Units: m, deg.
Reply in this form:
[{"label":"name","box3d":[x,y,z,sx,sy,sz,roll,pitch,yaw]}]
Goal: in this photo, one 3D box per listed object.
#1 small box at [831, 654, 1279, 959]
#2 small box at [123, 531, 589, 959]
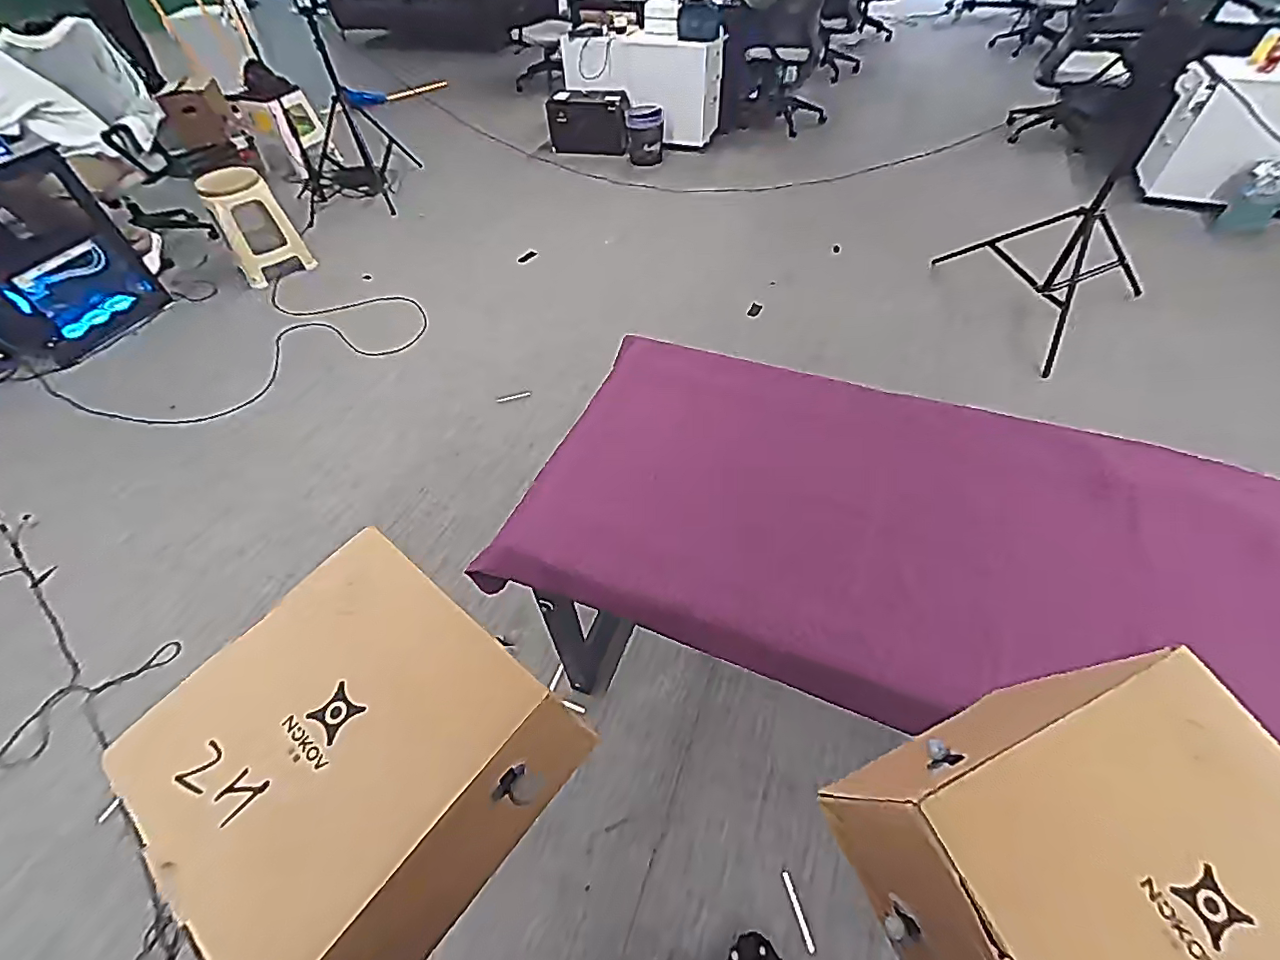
[{"label":"small box","box3d":[0.242,0.222,0.305,0.179,0.176,0.168,-23,63,-11]},{"label":"small box","box3d":[-0.149,0.172,0.349,0.168,0.176,0.179,33,66,24]}]
